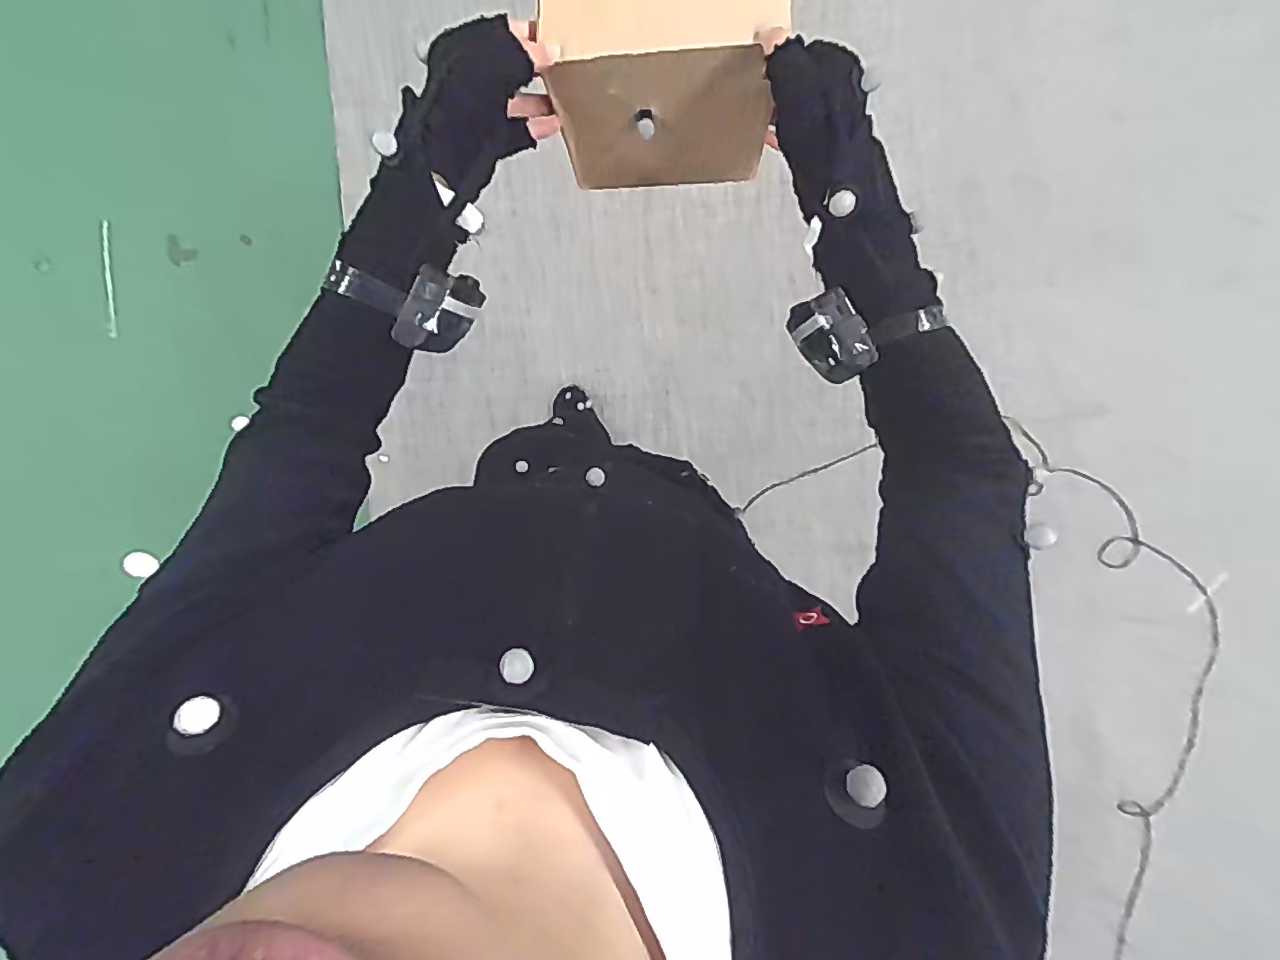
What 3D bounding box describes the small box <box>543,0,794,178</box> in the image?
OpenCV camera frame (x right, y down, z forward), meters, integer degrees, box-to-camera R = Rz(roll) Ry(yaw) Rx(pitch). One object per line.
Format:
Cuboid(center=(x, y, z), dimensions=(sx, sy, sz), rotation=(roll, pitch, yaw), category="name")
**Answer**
Cuboid(center=(0.025, -0.379, 0.452), dimensions=(0.179, 0.176, 0.168), rotation=(-1, 89, 4), category="small box")
